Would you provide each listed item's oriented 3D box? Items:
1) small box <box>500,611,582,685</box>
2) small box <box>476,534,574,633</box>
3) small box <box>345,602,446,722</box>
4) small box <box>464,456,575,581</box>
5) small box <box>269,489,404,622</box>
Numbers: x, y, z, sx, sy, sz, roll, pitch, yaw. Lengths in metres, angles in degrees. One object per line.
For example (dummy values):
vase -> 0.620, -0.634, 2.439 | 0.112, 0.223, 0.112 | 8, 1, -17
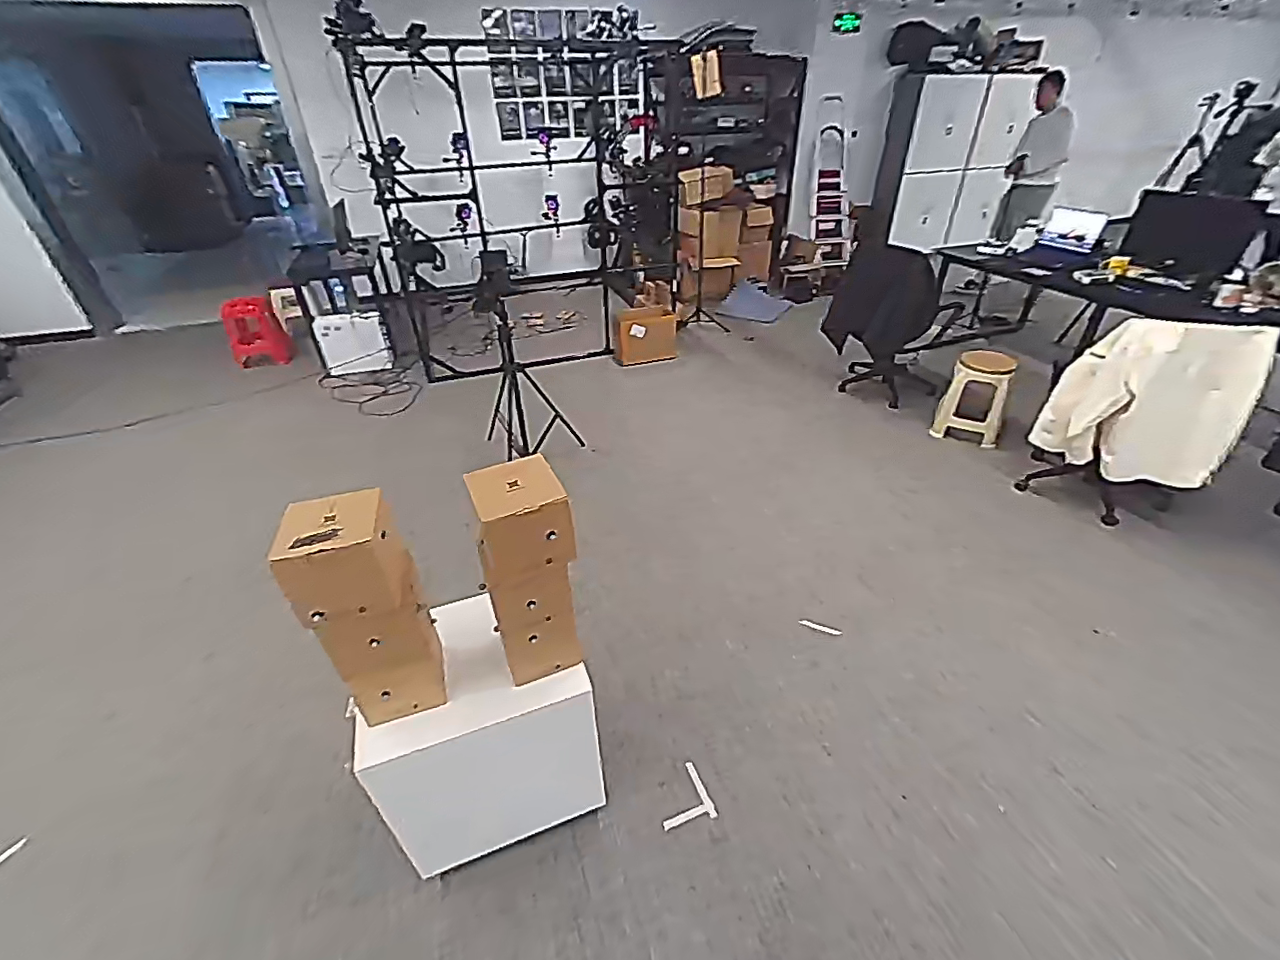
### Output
small box -> -0.245, 0.346, 1.281 | 0.168, 0.176, 0.179 | -16, 37, -17
small box -> -0.251, 0.211, 1.187 | 0.168, 0.176, 0.179 | -15, 37, -17
small box -> -0.537, 0.411, 1.207 | 0.168, 0.176, 0.179 | -13, 36, -16
small box -> -0.239, 0.081, 1.088 | 0.168, 0.176, 0.179 | -17, 38, -21
small box -> -0.552, 0.145, 1.013 | 0.168, 0.176, 0.179 | -11, 35, -13
